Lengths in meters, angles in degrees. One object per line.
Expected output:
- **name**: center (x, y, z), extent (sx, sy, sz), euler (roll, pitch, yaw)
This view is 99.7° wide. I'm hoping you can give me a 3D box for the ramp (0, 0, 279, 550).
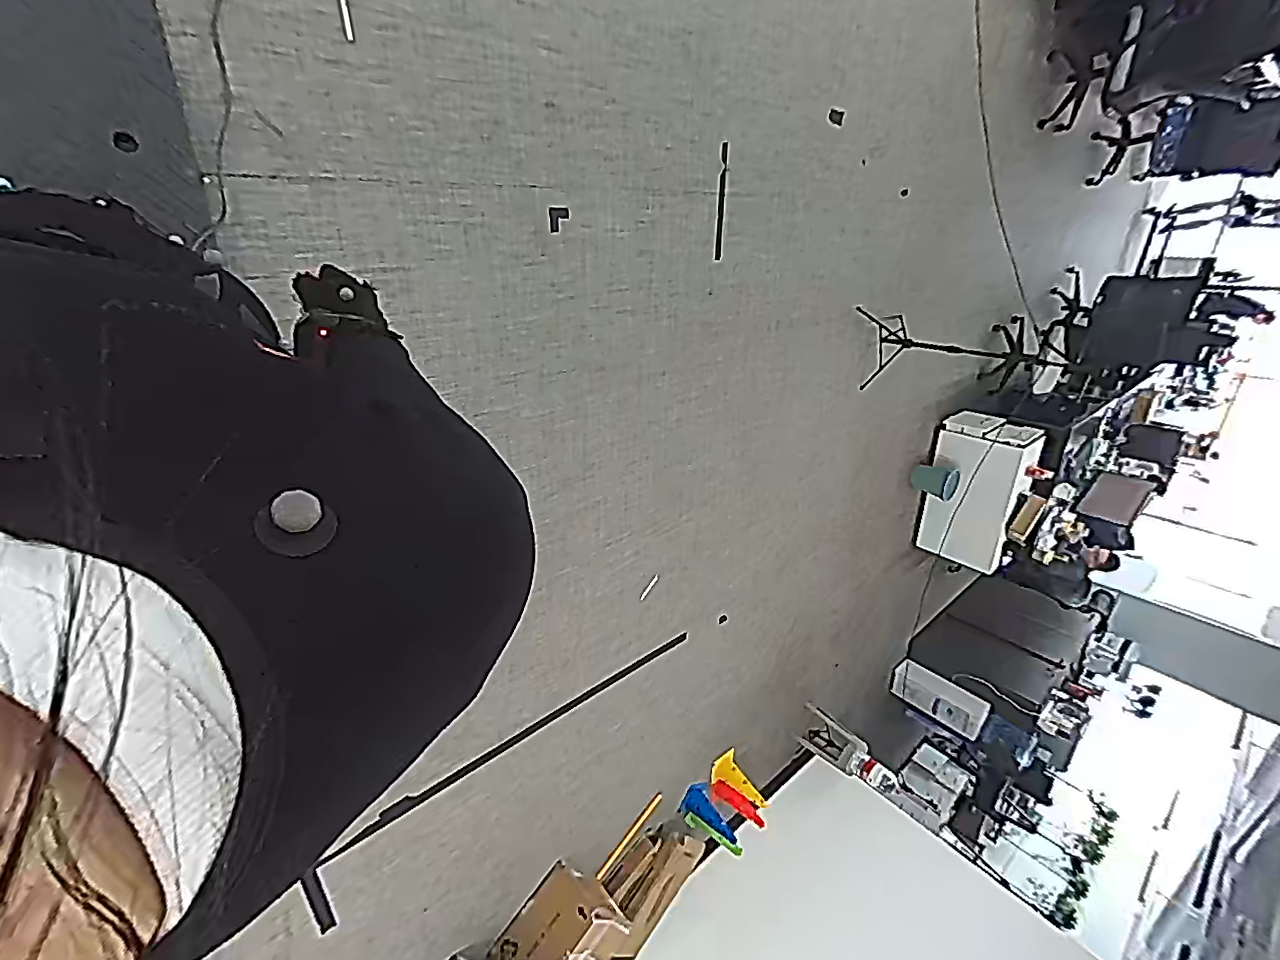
- **ramp**: center (-1.066, -0.398, 0.980), extent (0.509, 0.206, 0.991), euler (-18, 119, -35)
